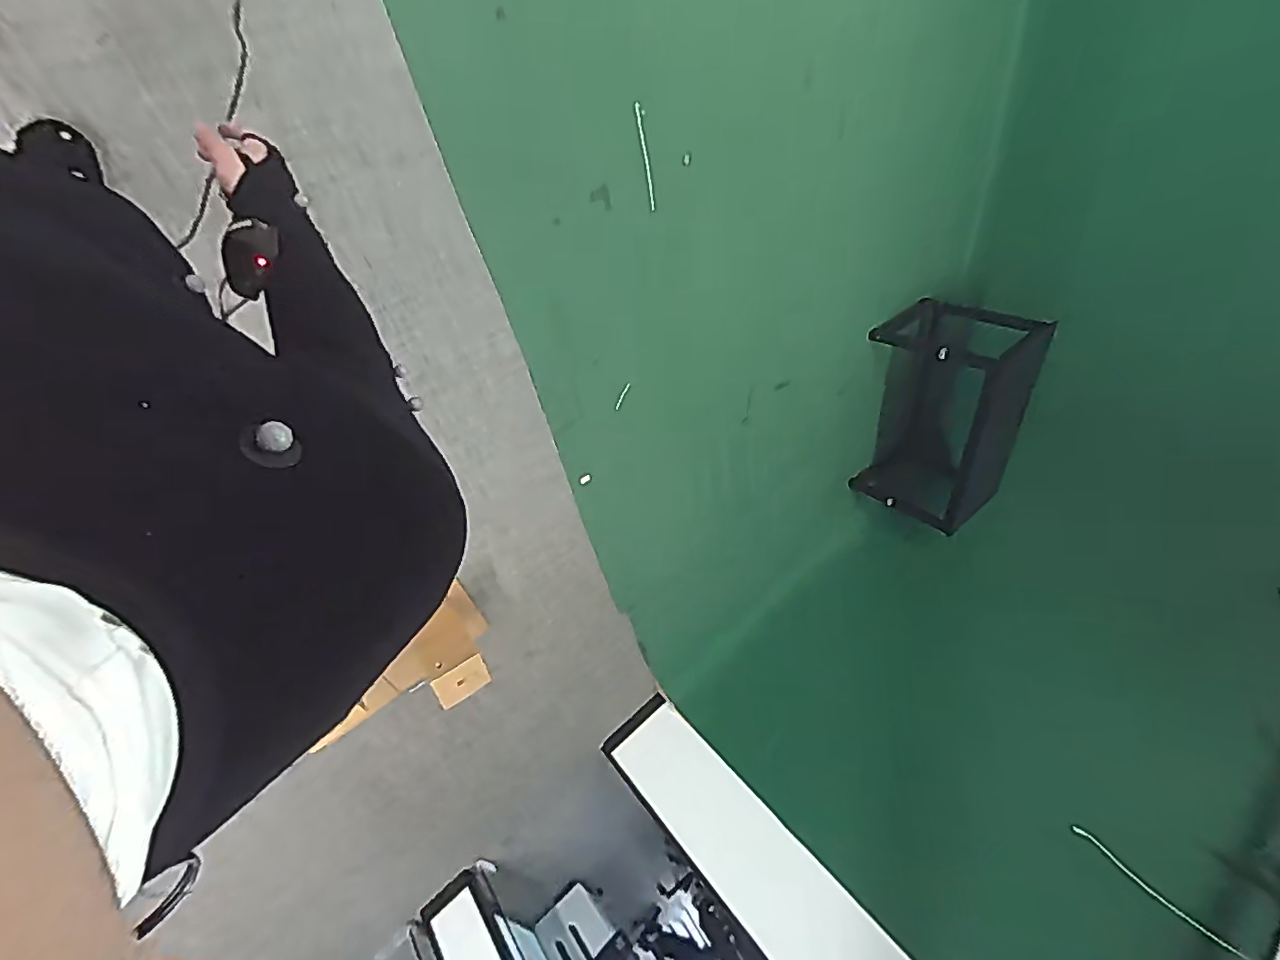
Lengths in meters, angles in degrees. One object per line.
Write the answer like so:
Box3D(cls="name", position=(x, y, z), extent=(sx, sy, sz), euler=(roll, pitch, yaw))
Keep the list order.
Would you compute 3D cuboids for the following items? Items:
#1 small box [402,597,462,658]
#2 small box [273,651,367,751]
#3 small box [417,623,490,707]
Box3D(cls="small box", position=(-0.748, 0.565, 1.978), extent=(0.179, 0.176, 0.168), euler=(-28, 132, -28))
Box3D(cls="small box", position=(-0.950, 0.647, 1.597), extent=(0.179, 0.176, 0.168), euler=(-36, 134, -23))
Box3D(cls="small box", position=(-0.648, 0.632, 1.864), extent=(0.179, 0.176, 0.168), euler=(-29, 133, -28))
